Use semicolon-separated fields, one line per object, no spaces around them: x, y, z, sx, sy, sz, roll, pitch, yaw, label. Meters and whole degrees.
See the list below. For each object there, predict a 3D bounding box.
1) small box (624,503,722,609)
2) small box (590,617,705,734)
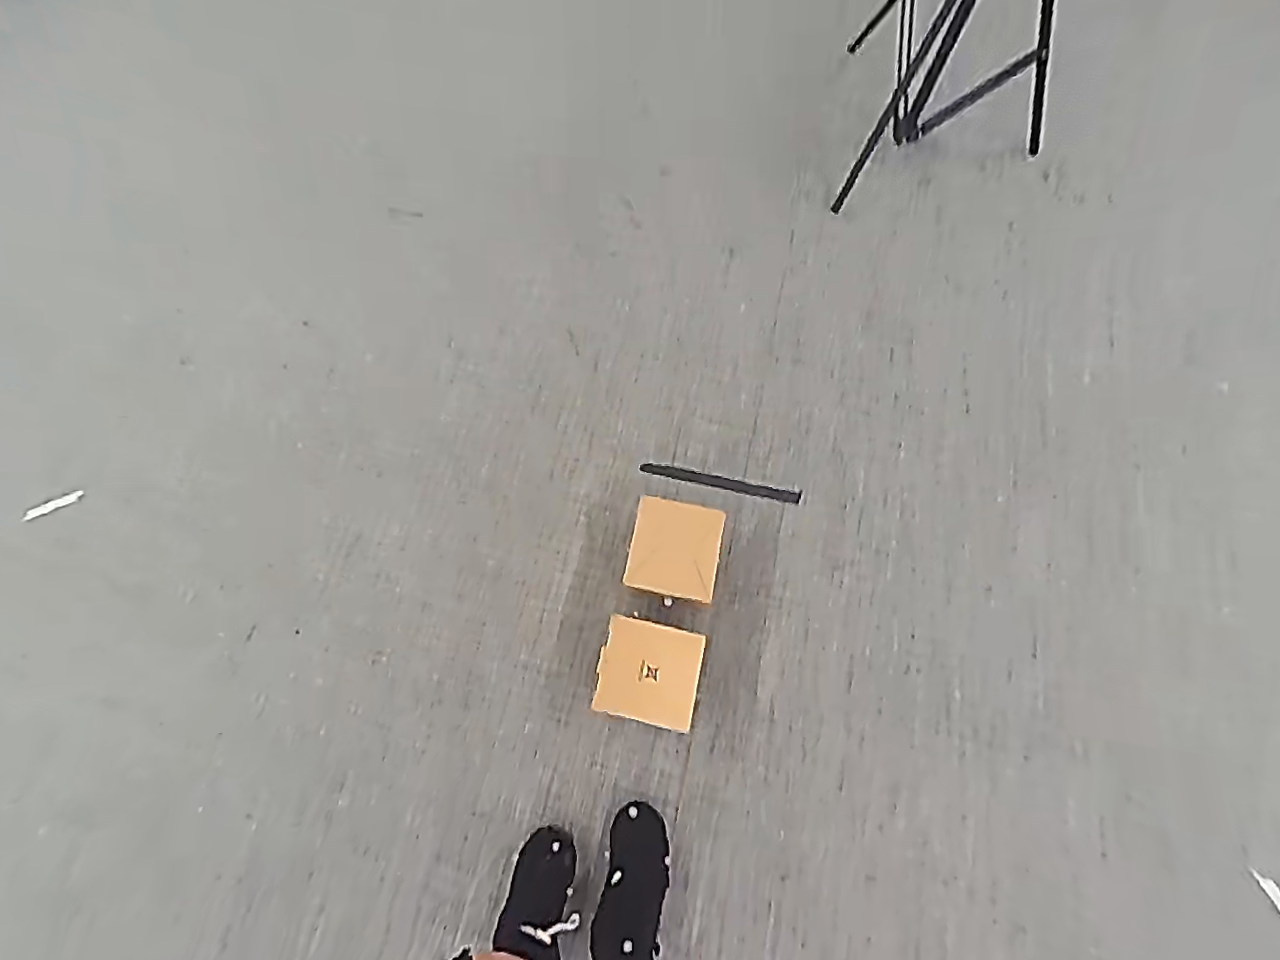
0.066;0.154;1.090;0.168;0.176;0.179;11;73;5;small box
0.017;0.364;1.029;0.179;0.176;0.168;12;73;6;small box
